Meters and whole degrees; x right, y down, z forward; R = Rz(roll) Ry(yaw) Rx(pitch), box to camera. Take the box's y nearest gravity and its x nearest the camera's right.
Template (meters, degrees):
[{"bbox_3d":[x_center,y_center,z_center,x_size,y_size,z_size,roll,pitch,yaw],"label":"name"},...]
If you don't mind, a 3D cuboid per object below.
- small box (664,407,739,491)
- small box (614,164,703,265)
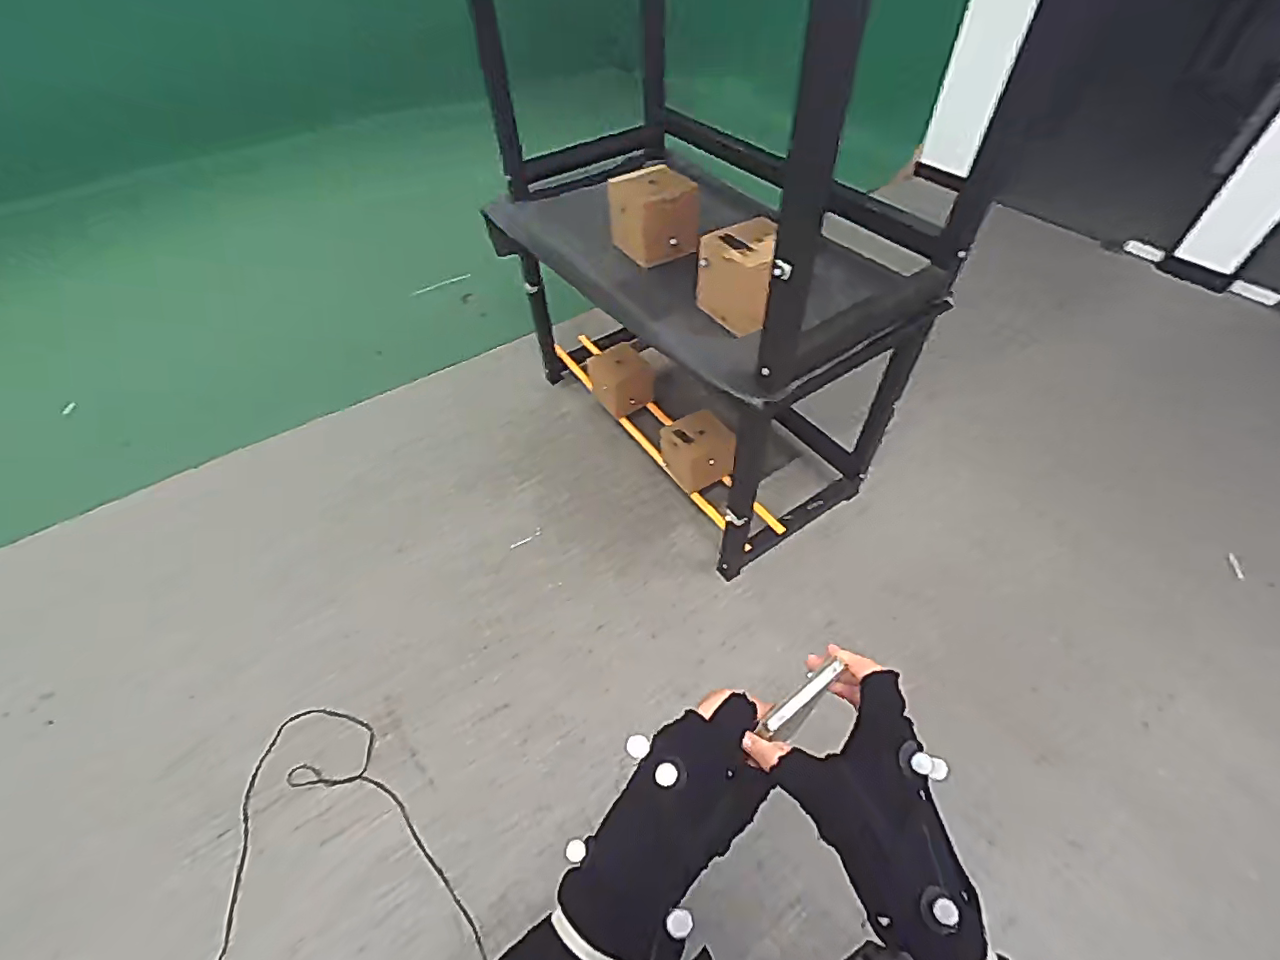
[{"bbox_3d":[0.195,-0.094,1.716,0.179,0.176,0.168,-26,54,-17],"label":"small box"},{"bbox_3d":[0.046,-0.689,1.406,0.168,0.176,0.179,-26,54,-17],"label":"small box"}]
